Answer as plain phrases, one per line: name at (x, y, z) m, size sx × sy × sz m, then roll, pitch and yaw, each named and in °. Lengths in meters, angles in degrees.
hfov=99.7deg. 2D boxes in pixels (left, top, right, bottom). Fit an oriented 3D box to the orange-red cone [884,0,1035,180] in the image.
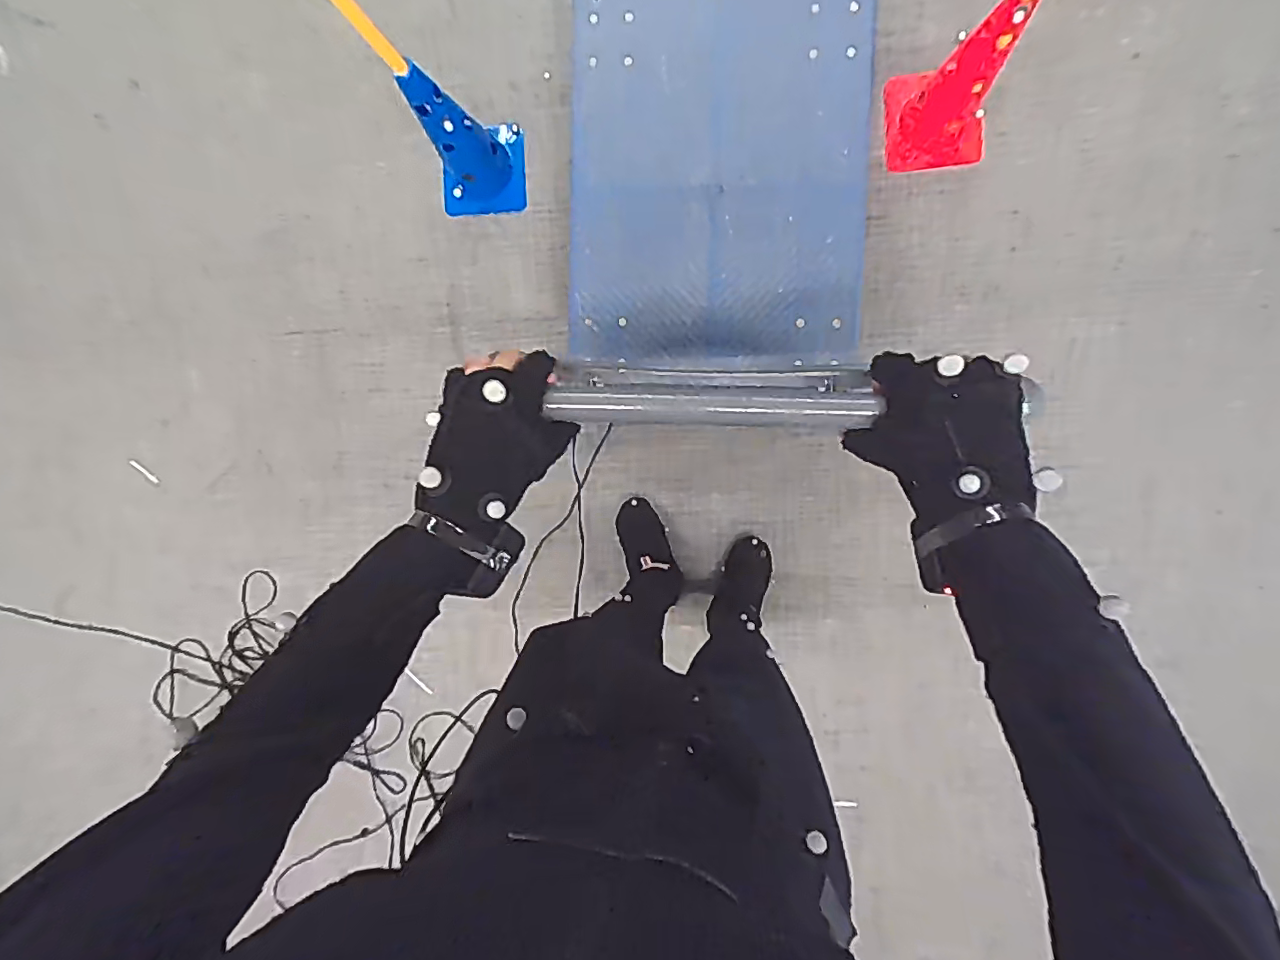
orange-red cone at (0.612, -0.750, 1.009) m, size 0.199 × 0.360 × 0.198 m, roll -1°, pitch 93°, yaw 8°
